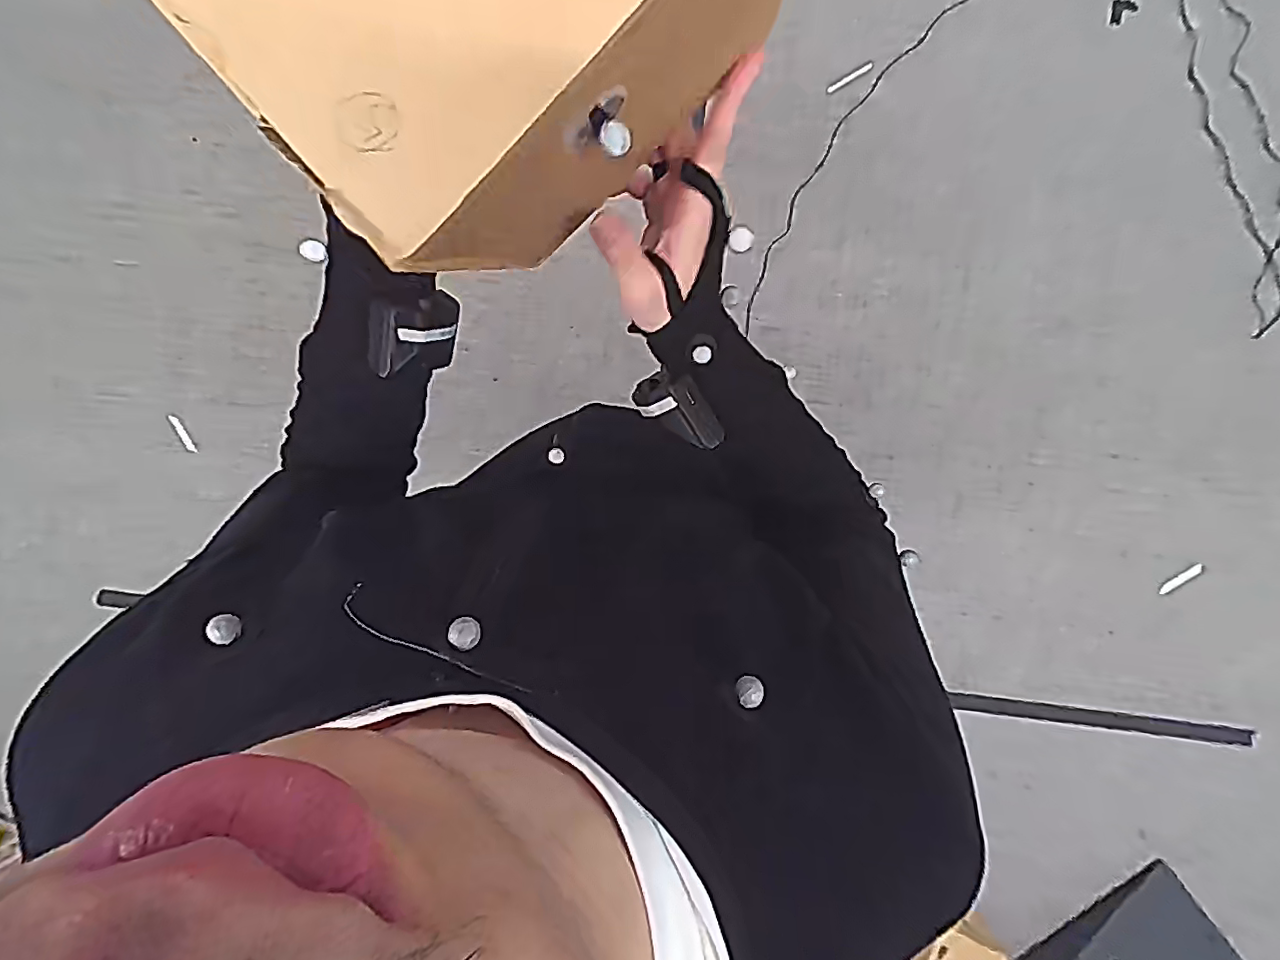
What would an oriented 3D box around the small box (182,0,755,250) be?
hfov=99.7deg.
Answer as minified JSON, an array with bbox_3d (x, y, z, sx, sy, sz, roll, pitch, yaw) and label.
[{"bbox_3d":[-0.059,-0.217,0.222,0.179,0.176,0.168,-38,104,19],"label":"small box"}]
